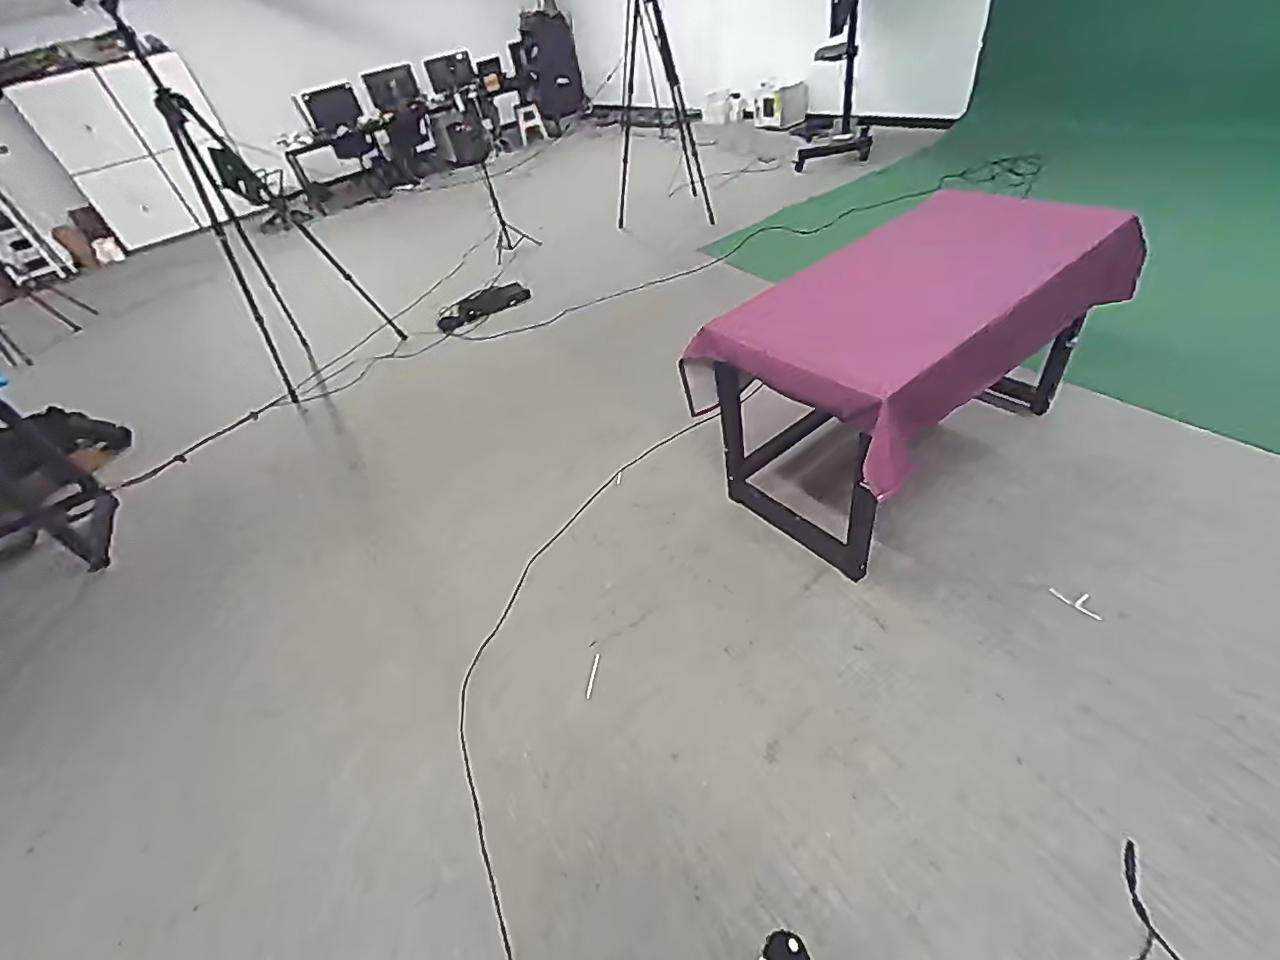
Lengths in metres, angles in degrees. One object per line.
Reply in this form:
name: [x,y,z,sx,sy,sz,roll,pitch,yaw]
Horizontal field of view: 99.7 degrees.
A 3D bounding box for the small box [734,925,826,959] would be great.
small box: [0.268,0.974,0.973,0.179,0.176,0.168,3,10,-32]
